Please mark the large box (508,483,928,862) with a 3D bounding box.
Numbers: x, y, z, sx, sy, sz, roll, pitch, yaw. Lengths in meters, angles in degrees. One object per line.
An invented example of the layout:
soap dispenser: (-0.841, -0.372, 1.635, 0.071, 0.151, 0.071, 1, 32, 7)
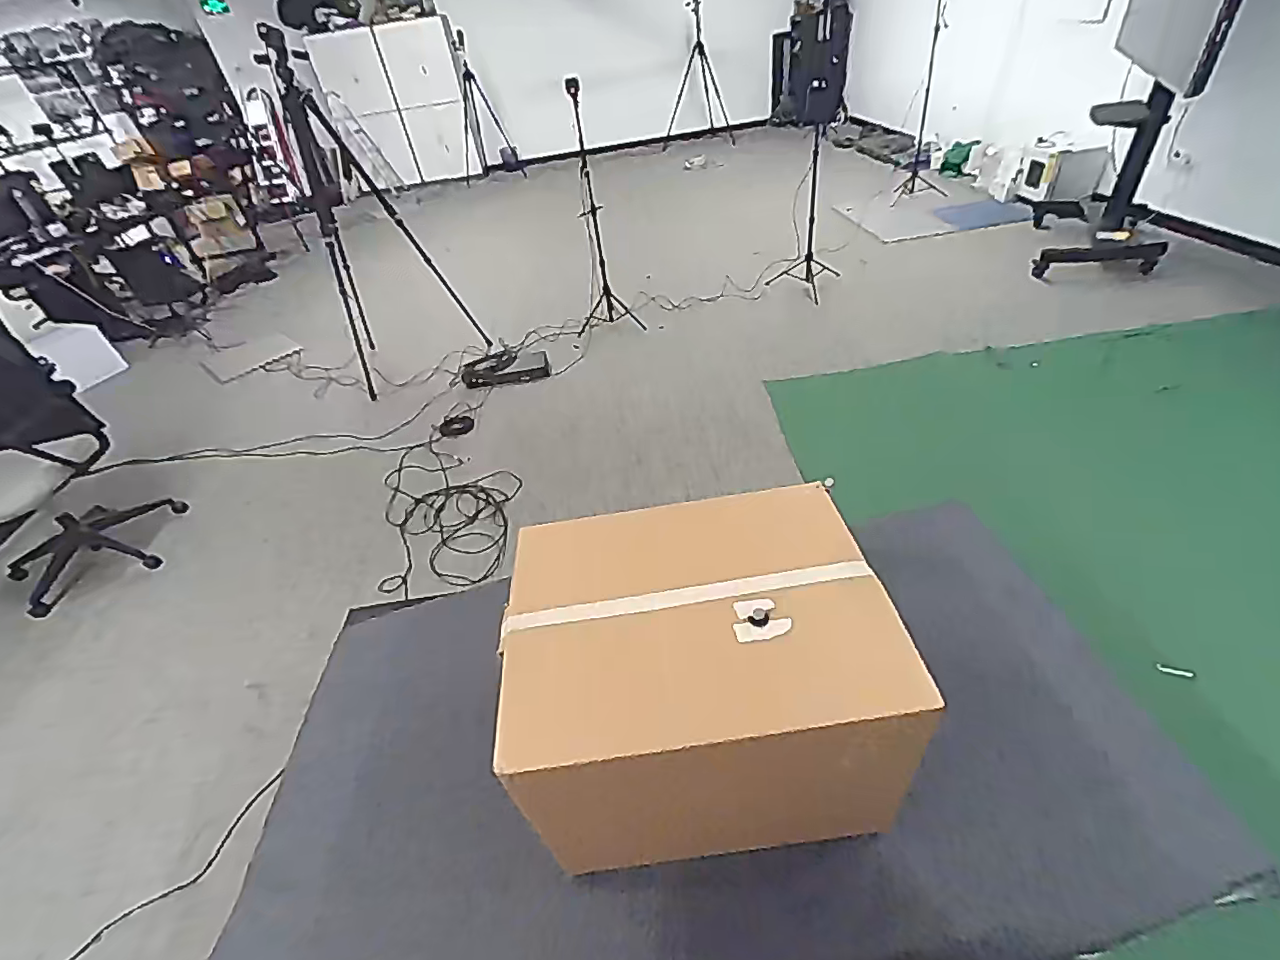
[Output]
large box: (0.073, 0.245, 0.703, 0.408, 0.320, 0.320, -9, 41, 0)
